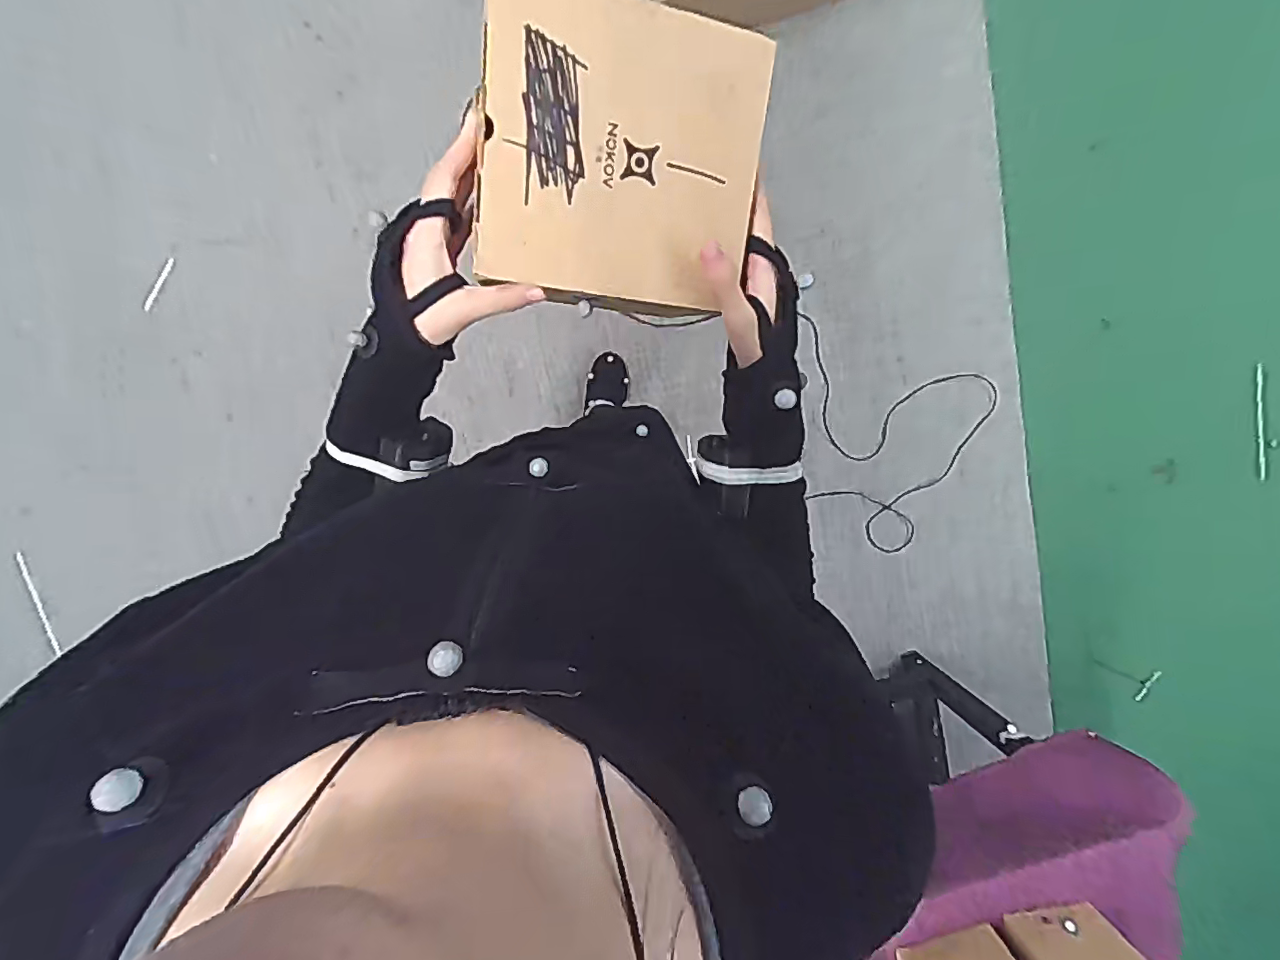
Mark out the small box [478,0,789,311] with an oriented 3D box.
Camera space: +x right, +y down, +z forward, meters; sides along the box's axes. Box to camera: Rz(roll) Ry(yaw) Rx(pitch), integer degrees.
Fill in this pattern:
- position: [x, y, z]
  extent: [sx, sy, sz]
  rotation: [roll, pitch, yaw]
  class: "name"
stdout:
- position: [-0.021, -0.222, 0.401]
  extent: [0.179, 0.176, 0.168]
  rotation: [4, 105, -16]
  class: "small box"
